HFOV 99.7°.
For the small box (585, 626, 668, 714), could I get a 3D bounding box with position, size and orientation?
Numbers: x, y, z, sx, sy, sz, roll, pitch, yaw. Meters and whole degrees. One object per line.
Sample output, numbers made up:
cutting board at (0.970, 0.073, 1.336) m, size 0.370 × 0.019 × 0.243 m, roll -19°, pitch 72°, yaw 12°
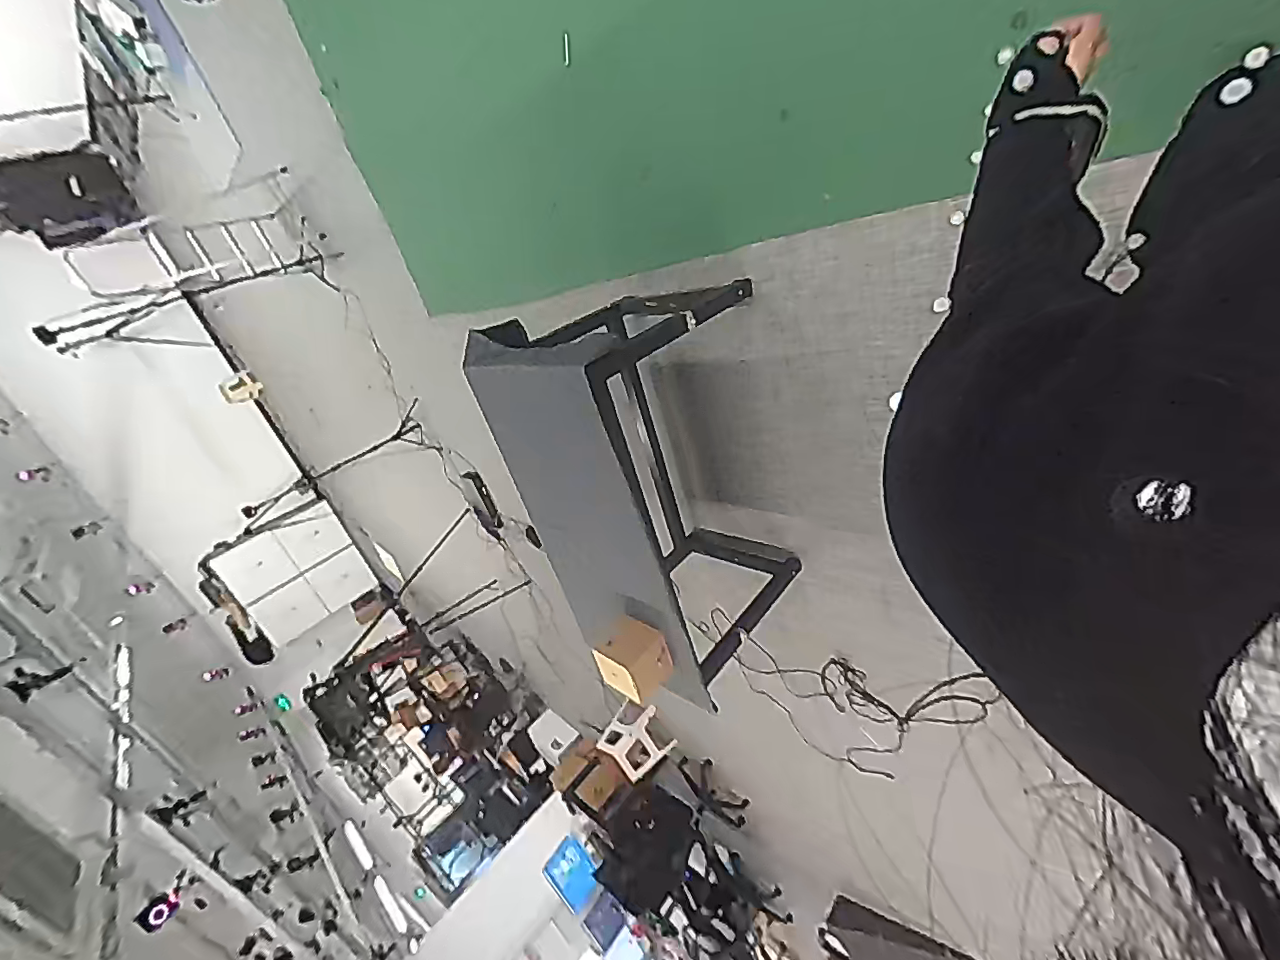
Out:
small box at (-0.041, 0.593, 1.716) m, size 0.179 × 0.176 × 0.168 m, roll 12°, pitch 129°, yaw 43°
